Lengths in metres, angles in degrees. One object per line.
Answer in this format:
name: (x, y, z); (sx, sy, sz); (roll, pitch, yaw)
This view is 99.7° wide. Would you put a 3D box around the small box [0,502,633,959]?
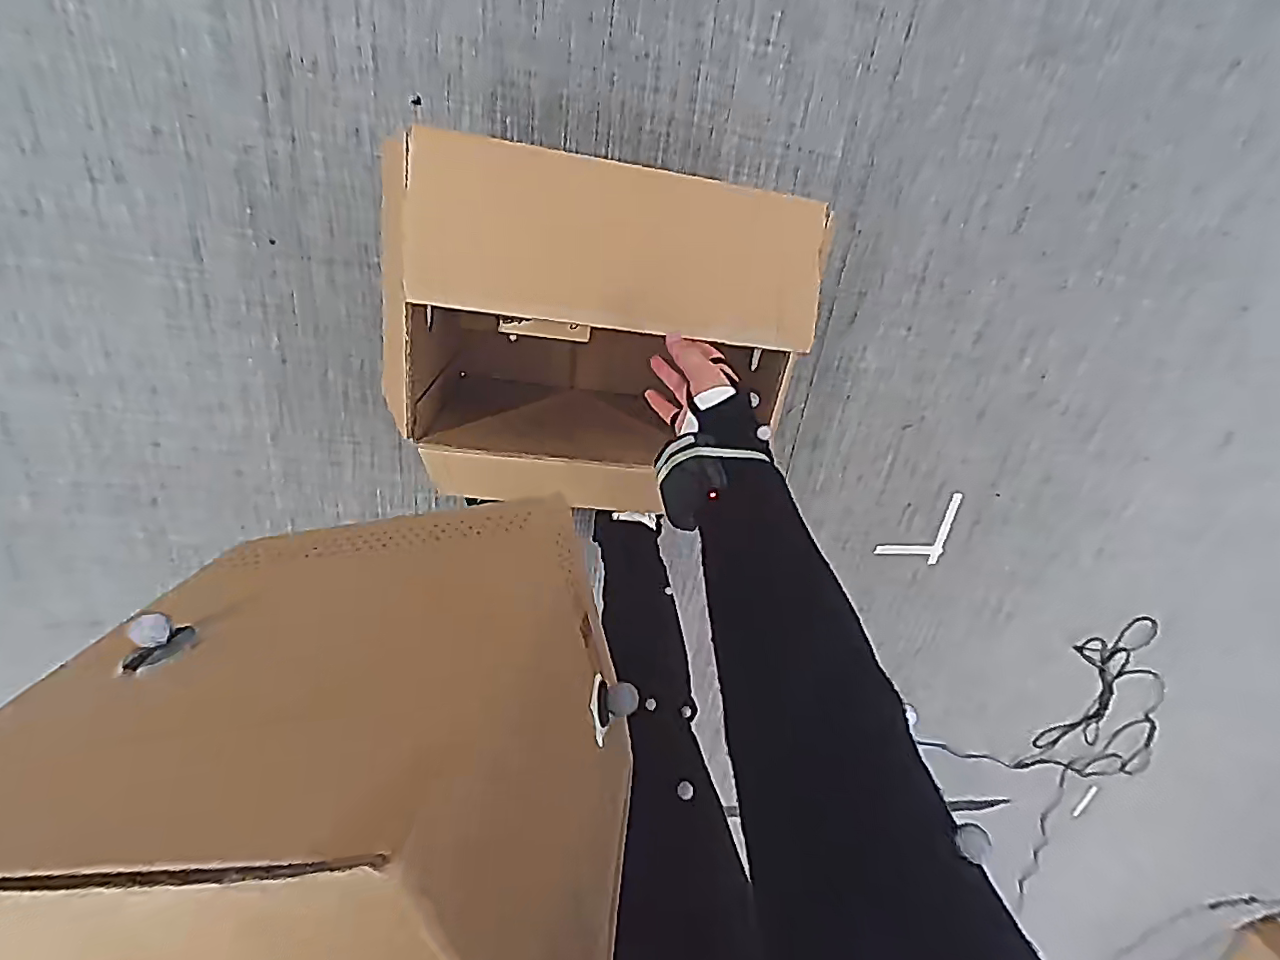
small box: (-0.108, 0.126, 0.236); (0.179, 0.176, 0.168); (-10, 114, 8)
